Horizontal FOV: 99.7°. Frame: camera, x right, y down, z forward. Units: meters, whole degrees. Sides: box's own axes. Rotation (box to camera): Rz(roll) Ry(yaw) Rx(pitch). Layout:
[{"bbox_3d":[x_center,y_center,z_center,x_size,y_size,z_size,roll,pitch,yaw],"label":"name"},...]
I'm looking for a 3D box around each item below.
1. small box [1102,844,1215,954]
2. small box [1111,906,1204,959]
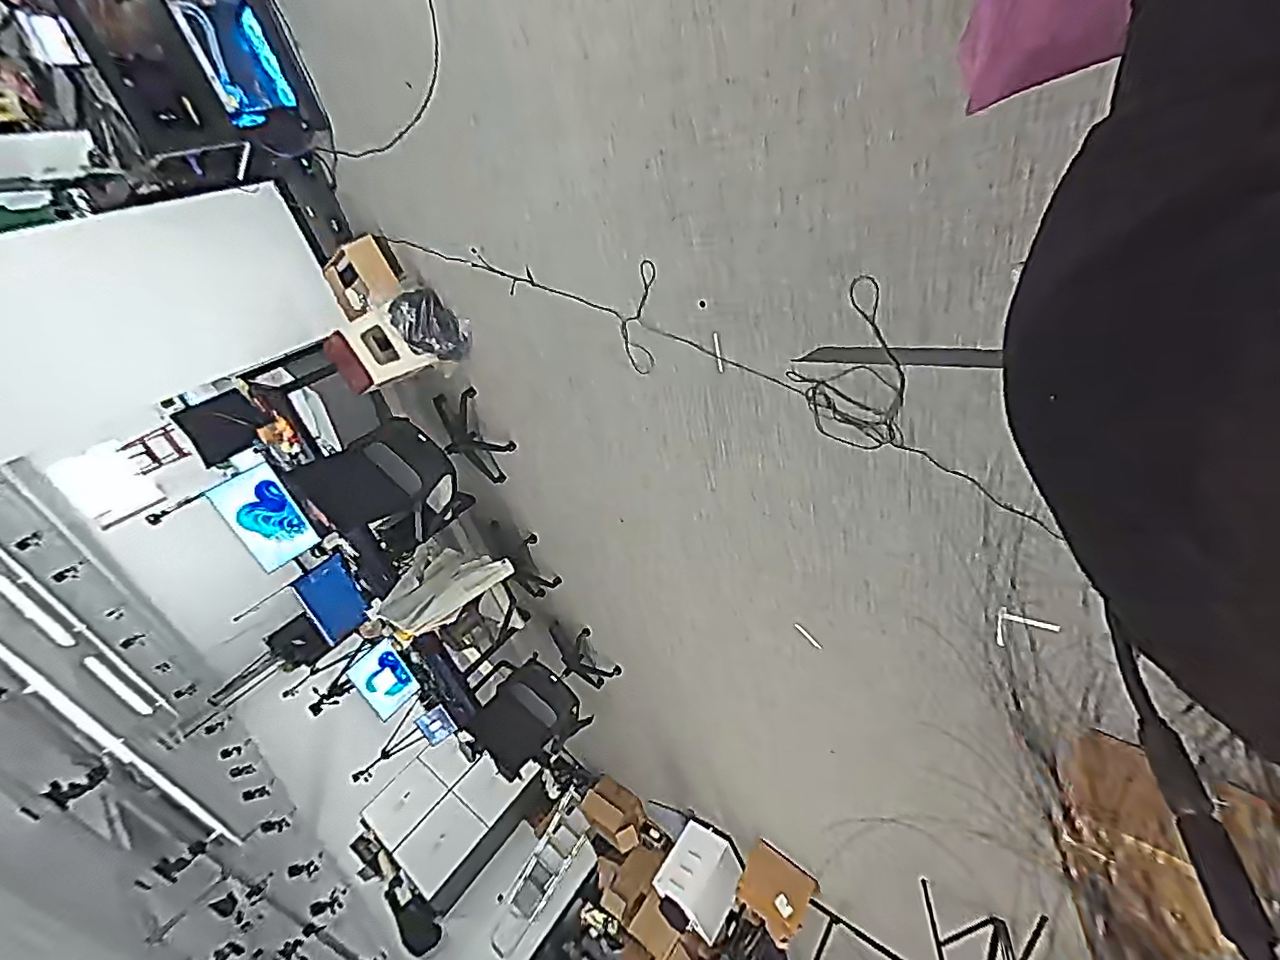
[{"bbox_3d":[1.397,1.139,1.461,0.179,0.176,0.168,20,135,34],"label":"small box"},{"bbox_3d":[1.307,1.240,1.370,0.168,0.176,0.179,5,127,44],"label":"small box"}]
